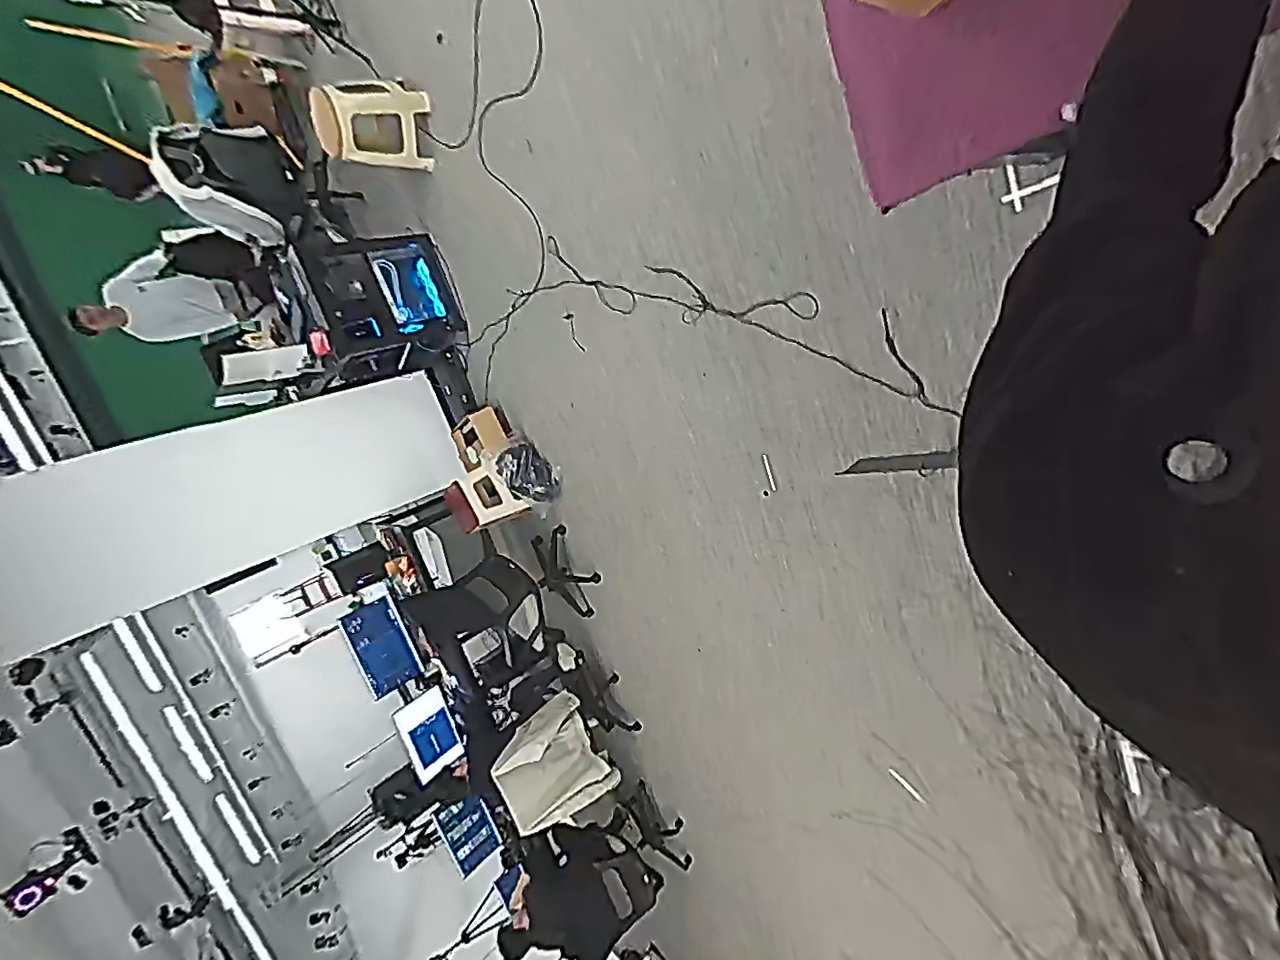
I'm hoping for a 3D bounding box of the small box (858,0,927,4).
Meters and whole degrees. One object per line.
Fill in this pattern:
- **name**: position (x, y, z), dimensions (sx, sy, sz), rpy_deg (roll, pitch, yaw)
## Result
- **small box**: position (0.277, -0.581, 0.489), dimensions (0.168, 0.176, 0.179), rpy_deg (-11, 103, 53)
